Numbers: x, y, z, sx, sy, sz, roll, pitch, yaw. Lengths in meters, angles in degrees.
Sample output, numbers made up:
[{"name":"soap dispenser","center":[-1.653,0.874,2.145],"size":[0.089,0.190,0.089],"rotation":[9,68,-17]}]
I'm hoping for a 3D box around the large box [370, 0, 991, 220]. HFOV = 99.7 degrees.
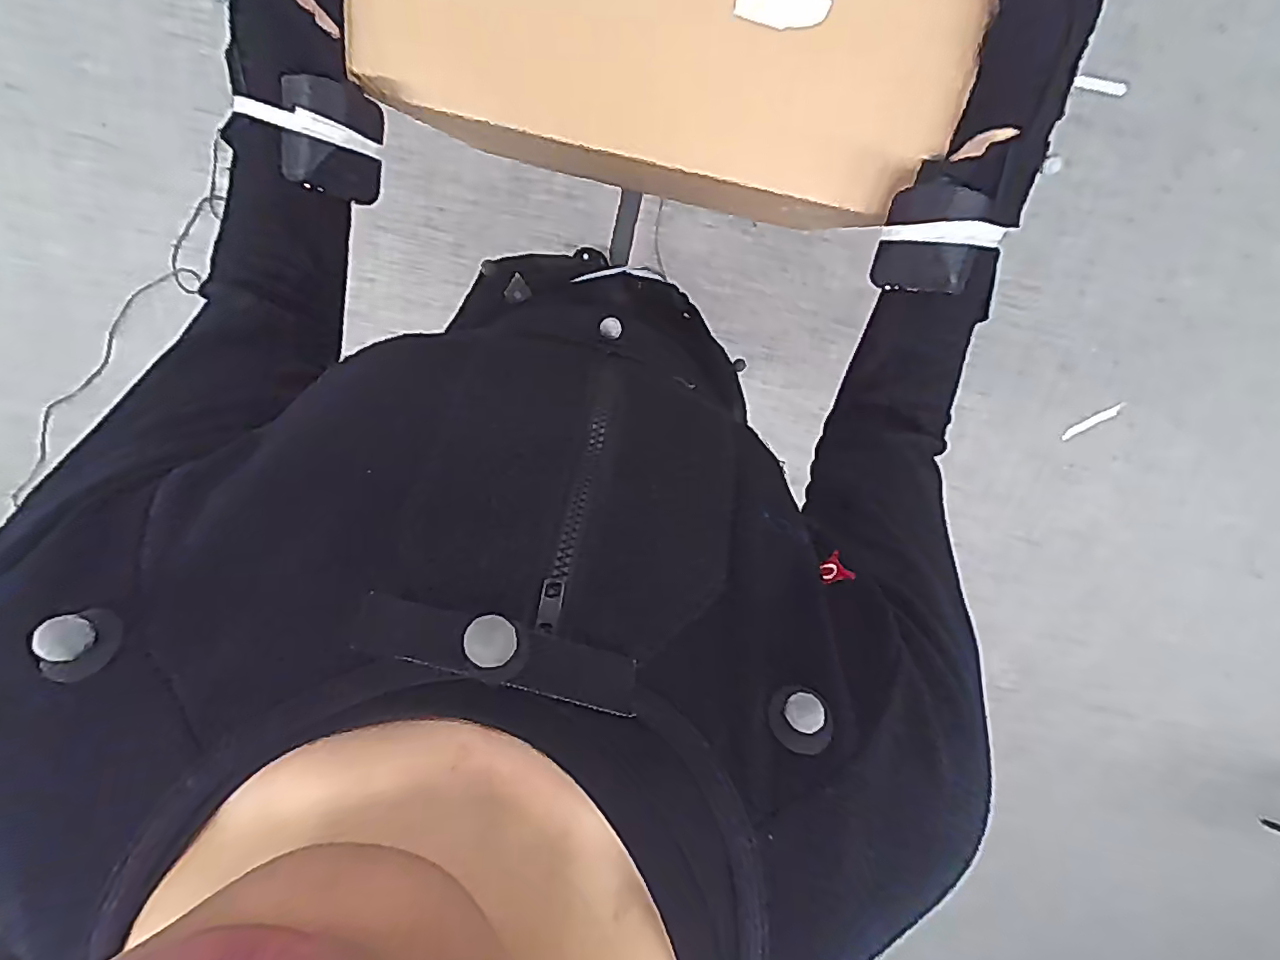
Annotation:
[{"name":"large box","center":[0.038,-0.430,0.459],"size":[0.408,0.320,0.320],"rotation":[11,115,-5]}]
